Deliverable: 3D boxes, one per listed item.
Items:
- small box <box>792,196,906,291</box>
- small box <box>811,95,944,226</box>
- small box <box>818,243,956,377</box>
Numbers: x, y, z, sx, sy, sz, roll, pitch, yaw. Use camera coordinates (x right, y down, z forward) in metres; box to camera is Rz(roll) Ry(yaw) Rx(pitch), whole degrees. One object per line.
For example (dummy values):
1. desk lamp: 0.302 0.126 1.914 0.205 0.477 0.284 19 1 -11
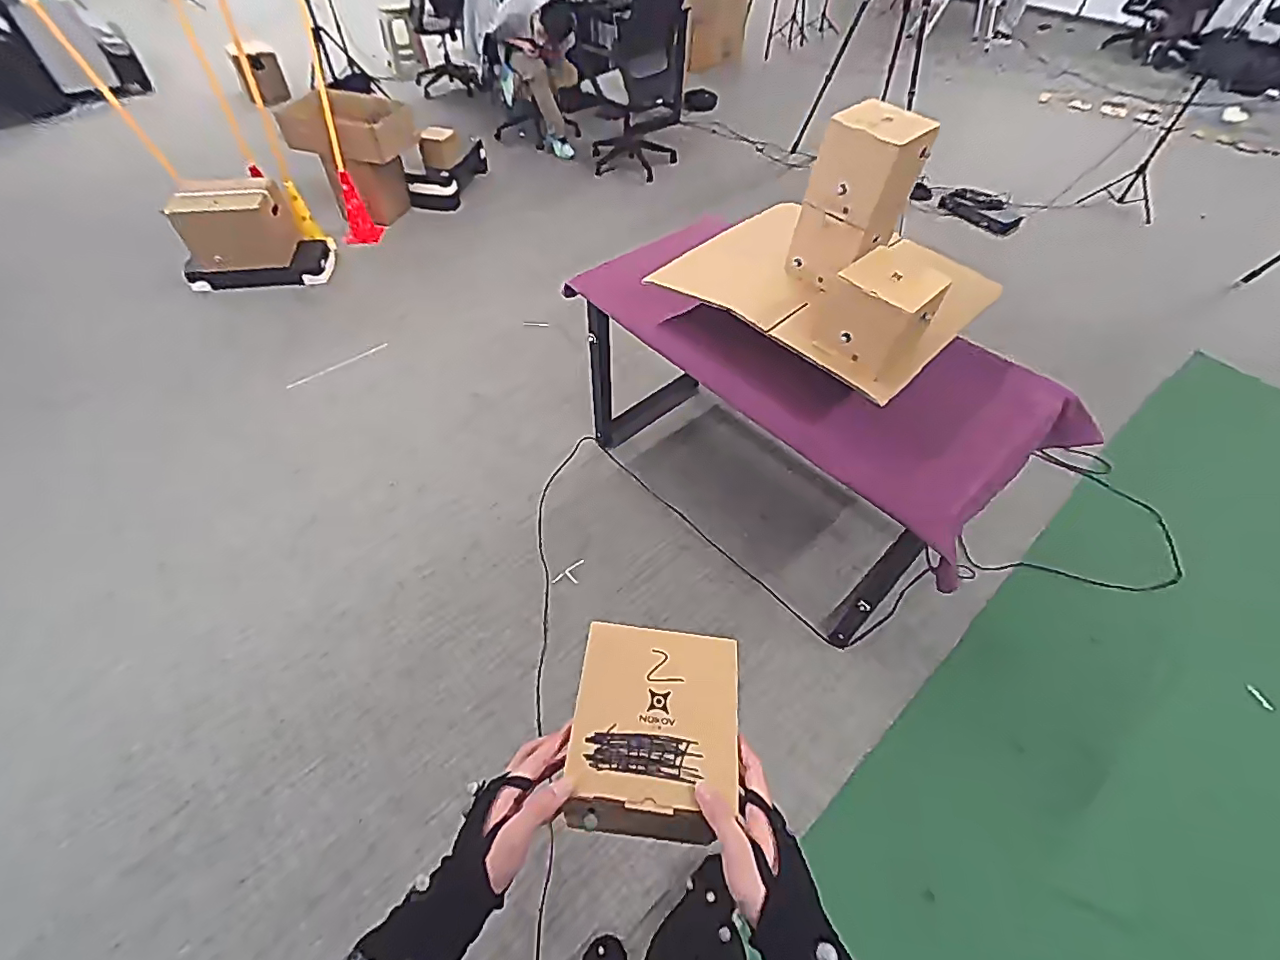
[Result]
1. small box: 0.480 -0.574 1.273 0.179 0.176 0.168 -37 65 -27
2. small box: 0.491 -0.673 1.143 0.179 0.176 0.168 -38 64 -26
3. small box: 0.496 -0.347 1.110 0.179 0.176 0.168 -38 64 -26
